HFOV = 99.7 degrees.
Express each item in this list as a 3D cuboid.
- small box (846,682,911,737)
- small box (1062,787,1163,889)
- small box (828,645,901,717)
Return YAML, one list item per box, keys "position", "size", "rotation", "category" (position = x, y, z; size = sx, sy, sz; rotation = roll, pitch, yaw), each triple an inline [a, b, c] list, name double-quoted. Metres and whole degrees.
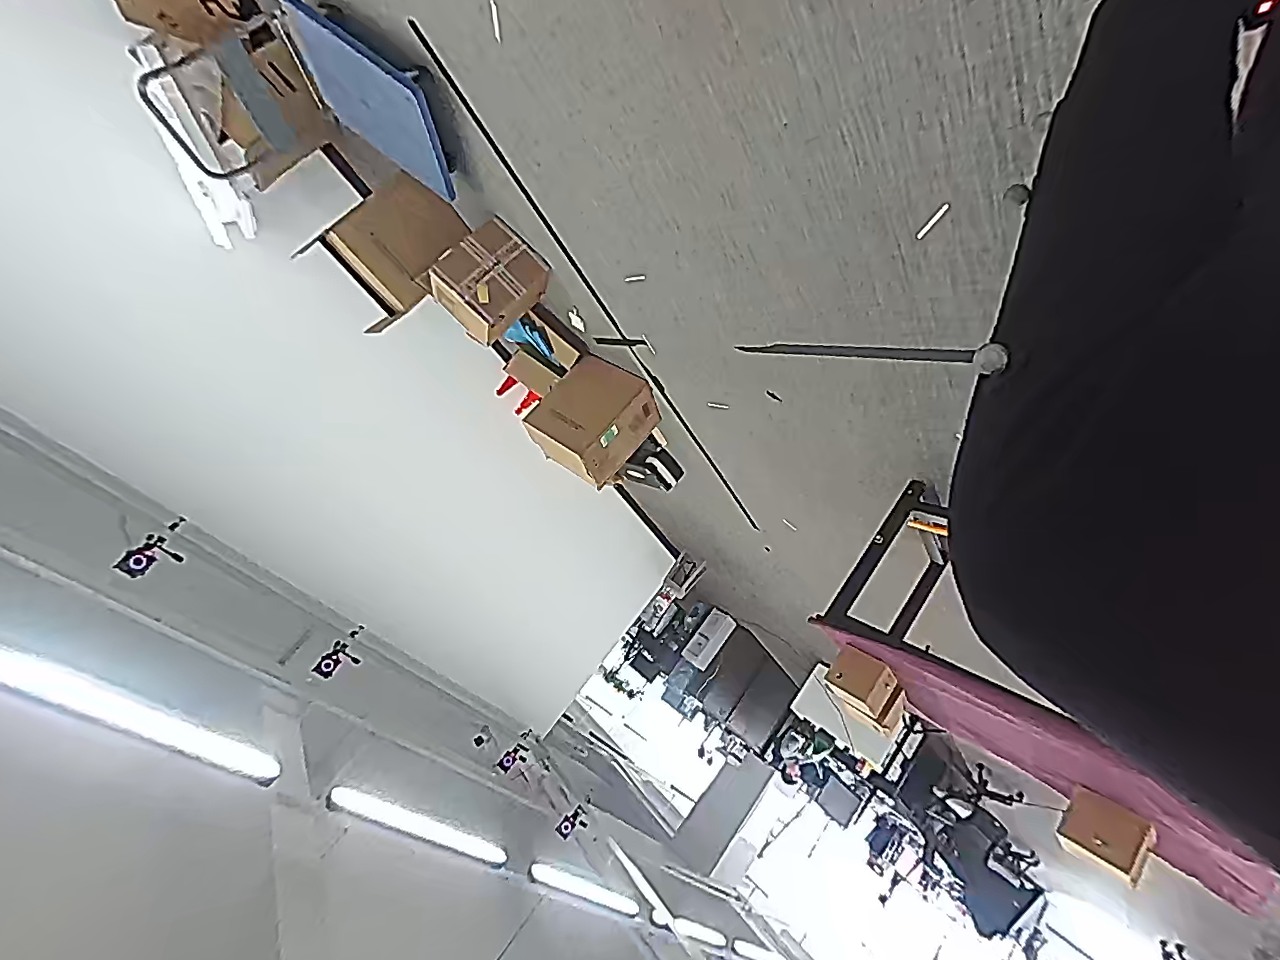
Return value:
- position: [0.956, 0.876, 2.152]
  size: [0.179, 0.176, 0.168]
  rotation: [25, 158, 47]
  category: "small box"
- position: [1.391, 1.041, 1.591]
  size: [0.168, 0.176, 0.179]
  rotation: [49, 163, -31]
  category: "small box"
- position: [0.850, 0.748, 2.039]
  size: [0.179, 0.176, 0.168]
  rotation: [20, 157, 50]
  category: "small box"
